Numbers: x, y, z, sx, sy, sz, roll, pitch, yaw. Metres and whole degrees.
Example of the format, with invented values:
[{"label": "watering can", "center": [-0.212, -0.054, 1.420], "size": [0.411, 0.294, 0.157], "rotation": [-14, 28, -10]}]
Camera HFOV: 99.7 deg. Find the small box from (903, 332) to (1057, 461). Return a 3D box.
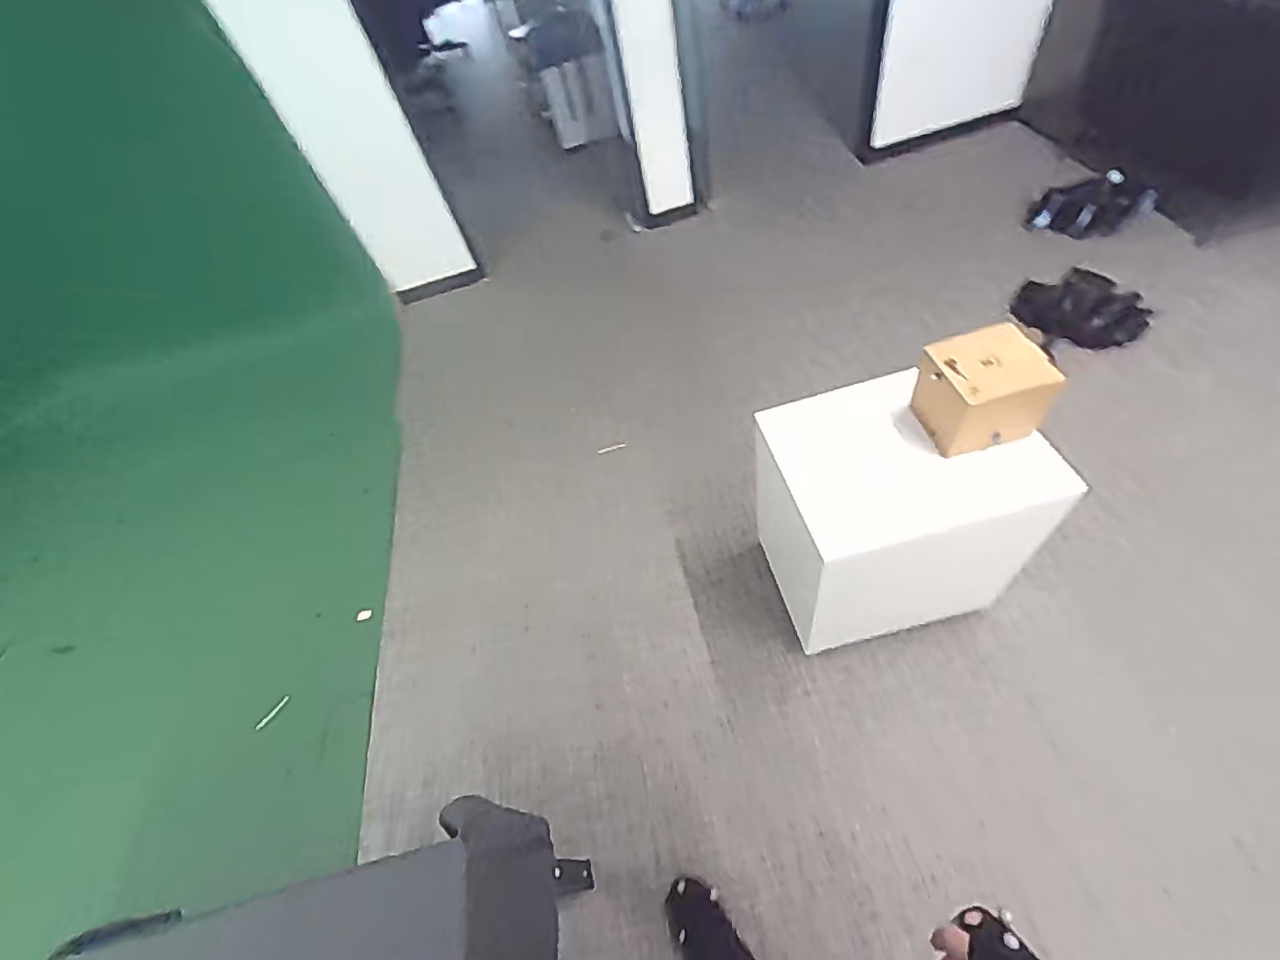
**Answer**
[{"label": "small box", "center": [0.659, -0.162, 1.076], "size": [0.179, 0.176, 0.168], "rotation": [-13, 53, 1]}]
